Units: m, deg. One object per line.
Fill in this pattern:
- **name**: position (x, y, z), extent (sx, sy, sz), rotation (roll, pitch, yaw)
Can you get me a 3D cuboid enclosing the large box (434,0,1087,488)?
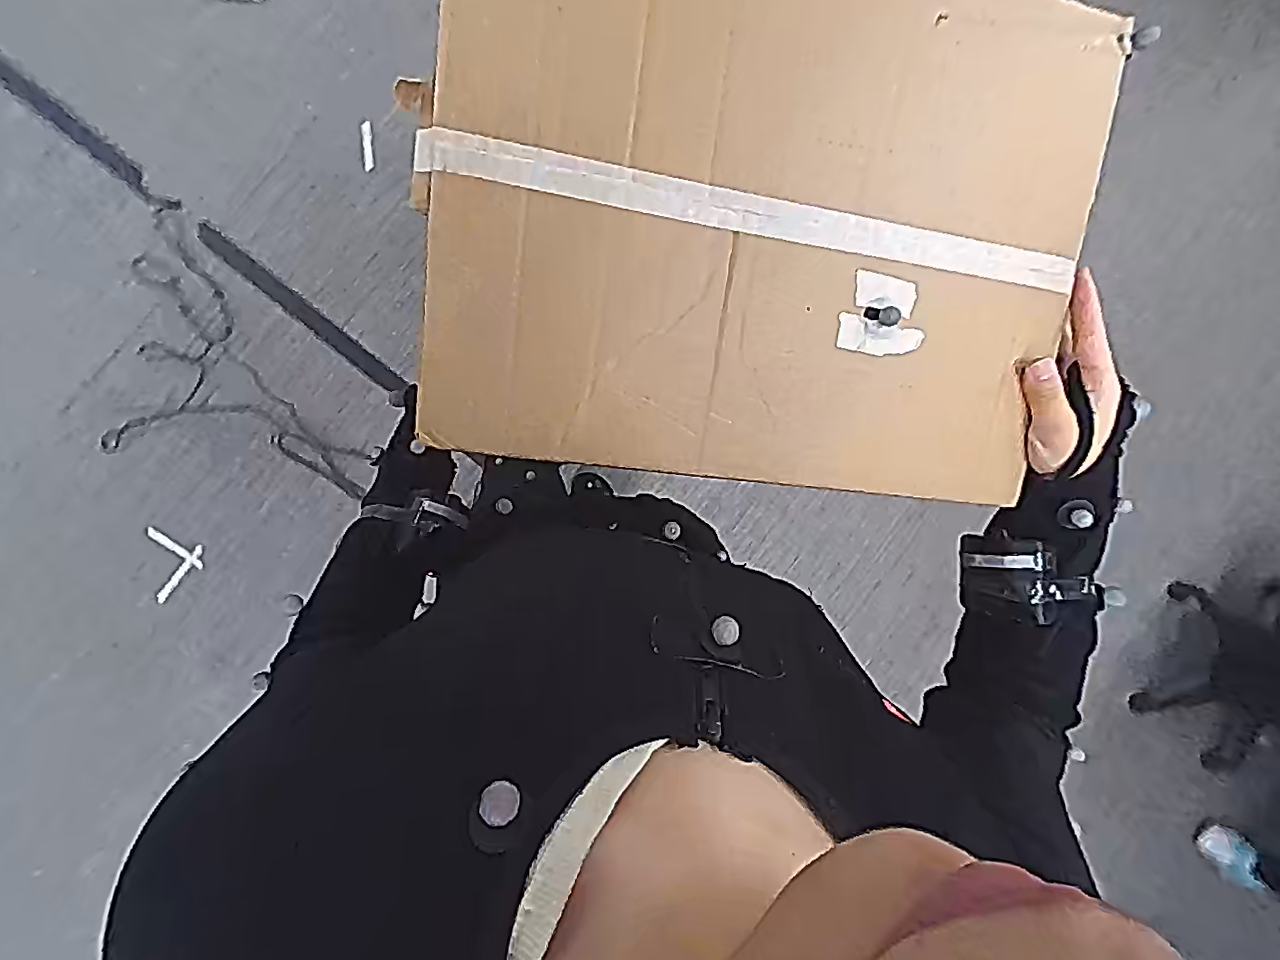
- **large box**: position (0.054, -0.180, 0.476), extent (0.408, 0.320, 0.320), rotation (4, 100, -13)
